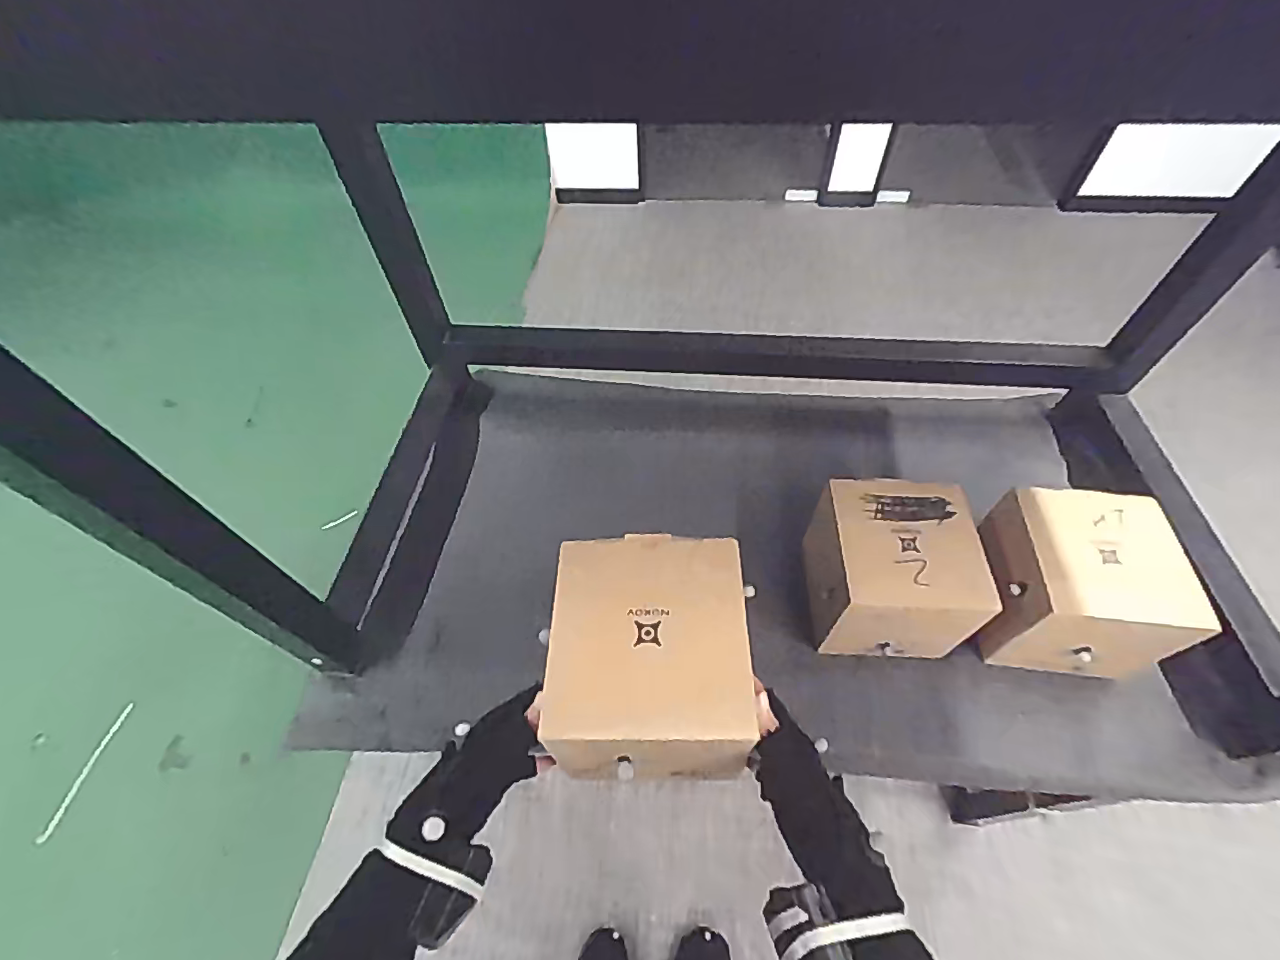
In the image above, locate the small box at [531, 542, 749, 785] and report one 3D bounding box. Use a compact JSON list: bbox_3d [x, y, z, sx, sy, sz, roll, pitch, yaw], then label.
[{"bbox_3d":[0.006,0.177,0.509,0.168,0.176,0.179,-1,50,3],"label":"small box"}]
